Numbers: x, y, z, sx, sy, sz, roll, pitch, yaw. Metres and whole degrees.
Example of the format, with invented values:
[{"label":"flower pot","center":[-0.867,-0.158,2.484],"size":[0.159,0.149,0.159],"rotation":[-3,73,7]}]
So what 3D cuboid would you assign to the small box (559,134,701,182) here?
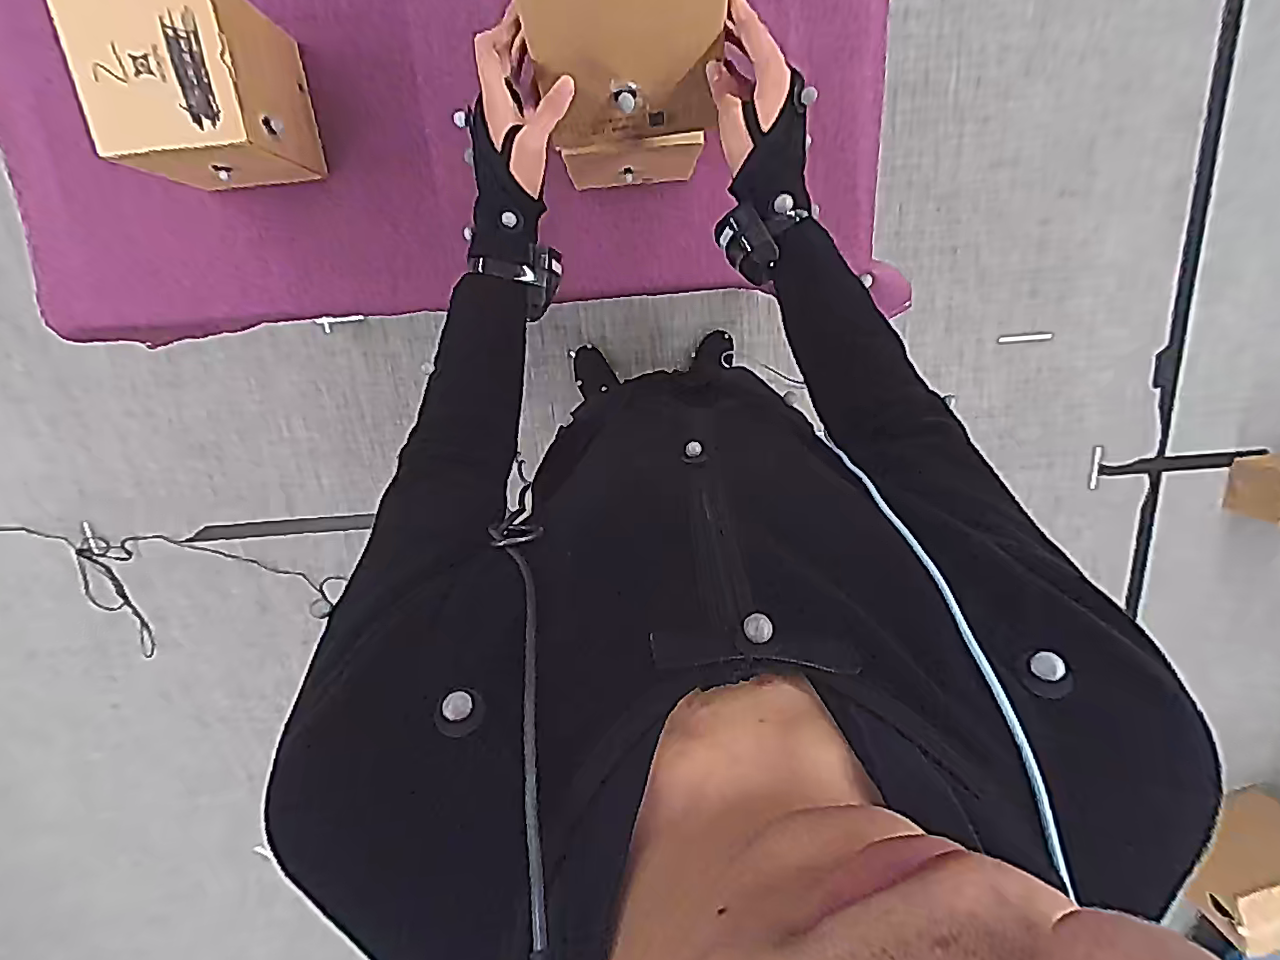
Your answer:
[{"label":"small box","center":[-0.016,-0.486,0.675],"size":[0.168,0.176,0.179],"rotation":[-5,106,0]}]

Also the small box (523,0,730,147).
[{"label":"small box","center":[-0.015,-0.440,0.481],"size":[0.168,0.176,0.179],"rotation":[-6,77,3]}]

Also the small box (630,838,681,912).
[{"label":"small box","center":[0.054,1.483,2.037],"size":[0.179,0.176,0.168],"rotation":[2,106,-3]}]
